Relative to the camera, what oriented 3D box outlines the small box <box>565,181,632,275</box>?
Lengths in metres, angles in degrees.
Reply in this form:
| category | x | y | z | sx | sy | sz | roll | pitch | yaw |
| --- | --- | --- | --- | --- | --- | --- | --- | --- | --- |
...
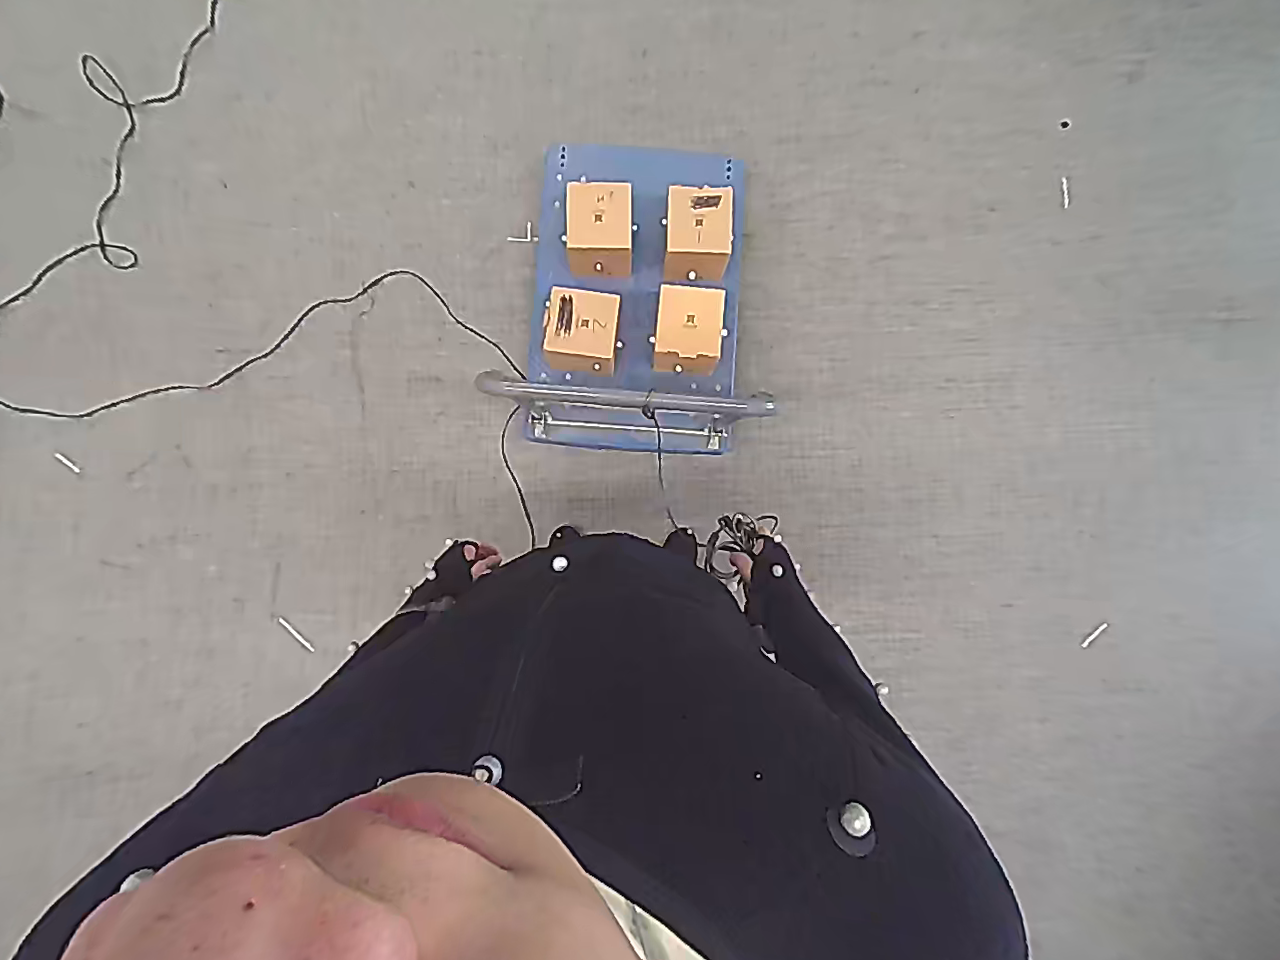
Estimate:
| category | x | y | z | sx | sy | sz | roll | pitch | yaw |
| --- | --- | --- | --- | --- | --- | --- | --- | --- | --- |
| small box | -0.106 | -0.664 | 1.442 | 0.168 | 0.176 | 0.179 | 0 | 86 | -2 |

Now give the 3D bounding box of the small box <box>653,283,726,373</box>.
| category | x | y | z | sx | sy | sz | roll | pitch | yaw |
| --- | --- | --- | --- | --- | --- | --- | --- | --- | --- |
| small box | 0.125 | -0.395 | 1.430 | 0.168 | 0.176 | 0.179 | 5 | 87 | -1 |

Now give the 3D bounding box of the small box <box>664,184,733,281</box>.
| category | x | y | z | sx | sy | sz | roll | pitch | yaw |
| --- | --- | --- | --- | --- | --- | --- | --- | --- | --- |
| small box | 0.151 | -0.656 | 1.444 | 0.168 | 0.176 | 0.179 | 2 | 87 | 0 |
